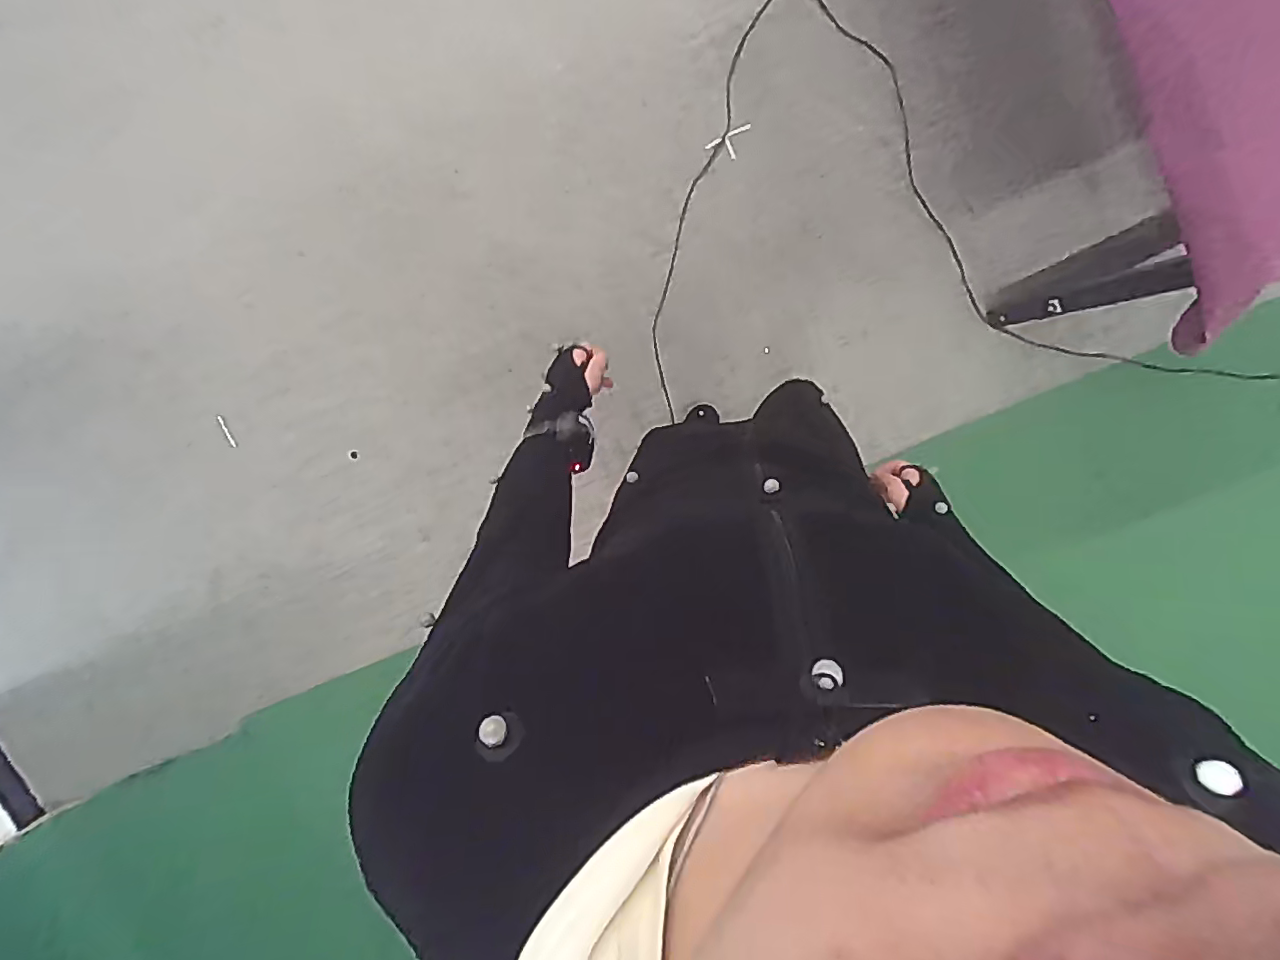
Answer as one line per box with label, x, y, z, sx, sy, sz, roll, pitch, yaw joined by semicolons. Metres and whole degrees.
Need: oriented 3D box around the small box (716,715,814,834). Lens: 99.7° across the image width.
small box;0.296;0.705;1.314;0.179;0.176;0.168;-22;96;9
